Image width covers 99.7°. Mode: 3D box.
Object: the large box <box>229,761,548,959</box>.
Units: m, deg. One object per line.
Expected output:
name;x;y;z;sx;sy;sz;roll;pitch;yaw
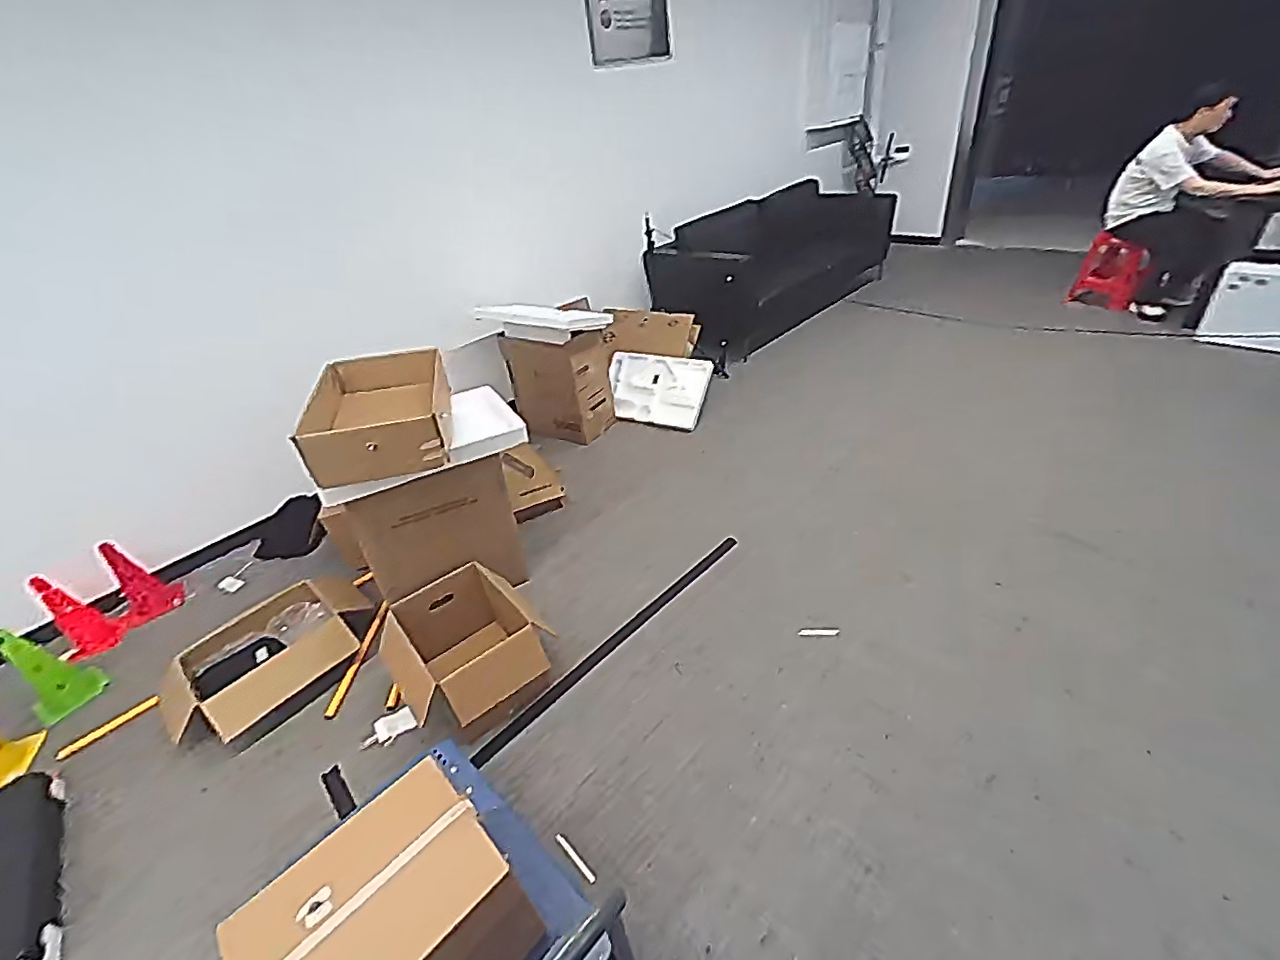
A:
large box;-0.447;0.855;1.027;0.320;0.320;0.408;23;46;40
